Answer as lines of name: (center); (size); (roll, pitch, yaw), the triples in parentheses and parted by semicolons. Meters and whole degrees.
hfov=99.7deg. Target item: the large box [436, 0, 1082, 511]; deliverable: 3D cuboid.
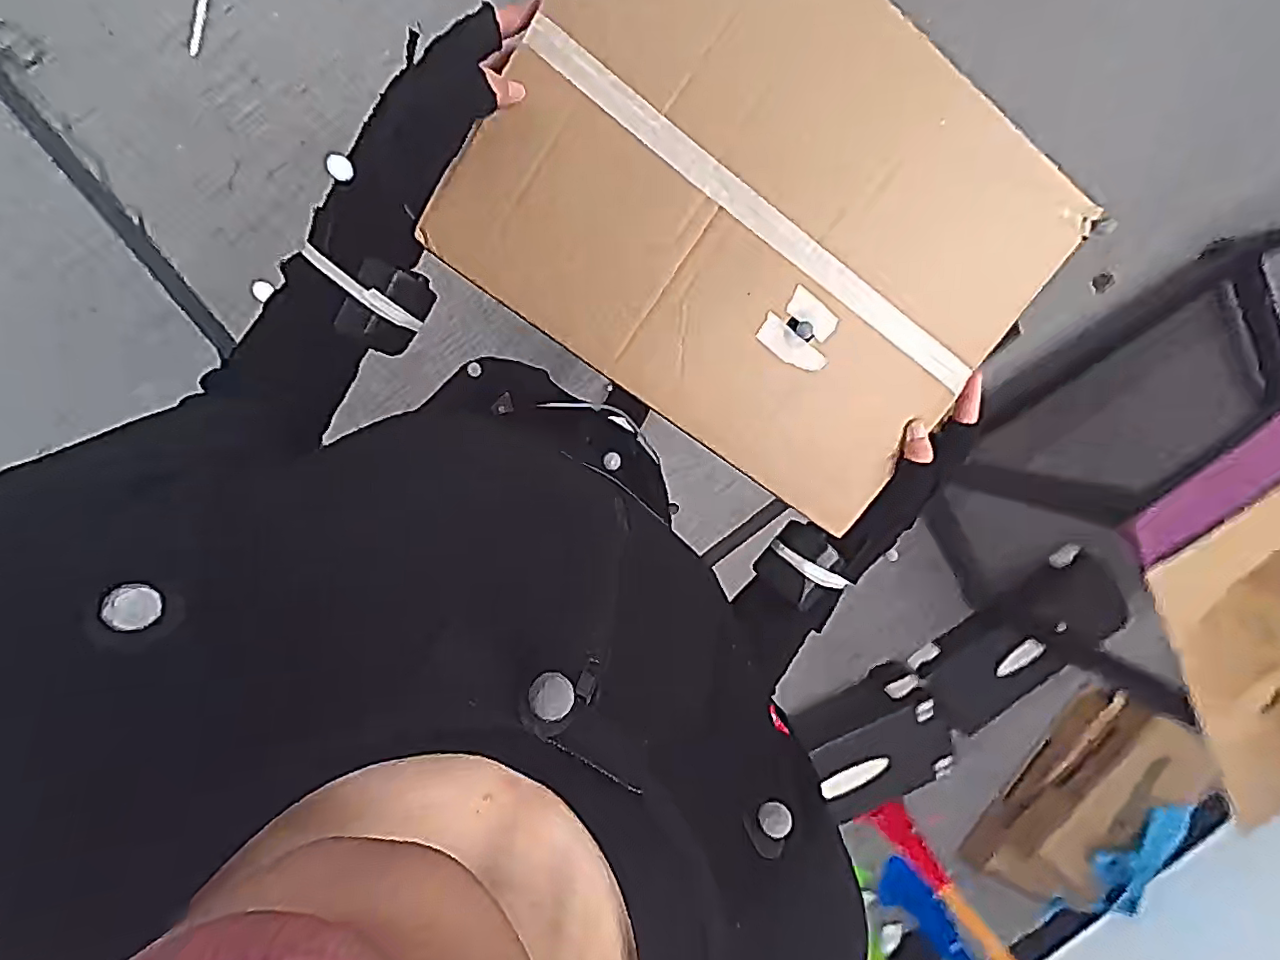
large box: (0.084, -0.234, 0.546); (0.408, 0.320, 0.320); (33, 101, -12)
